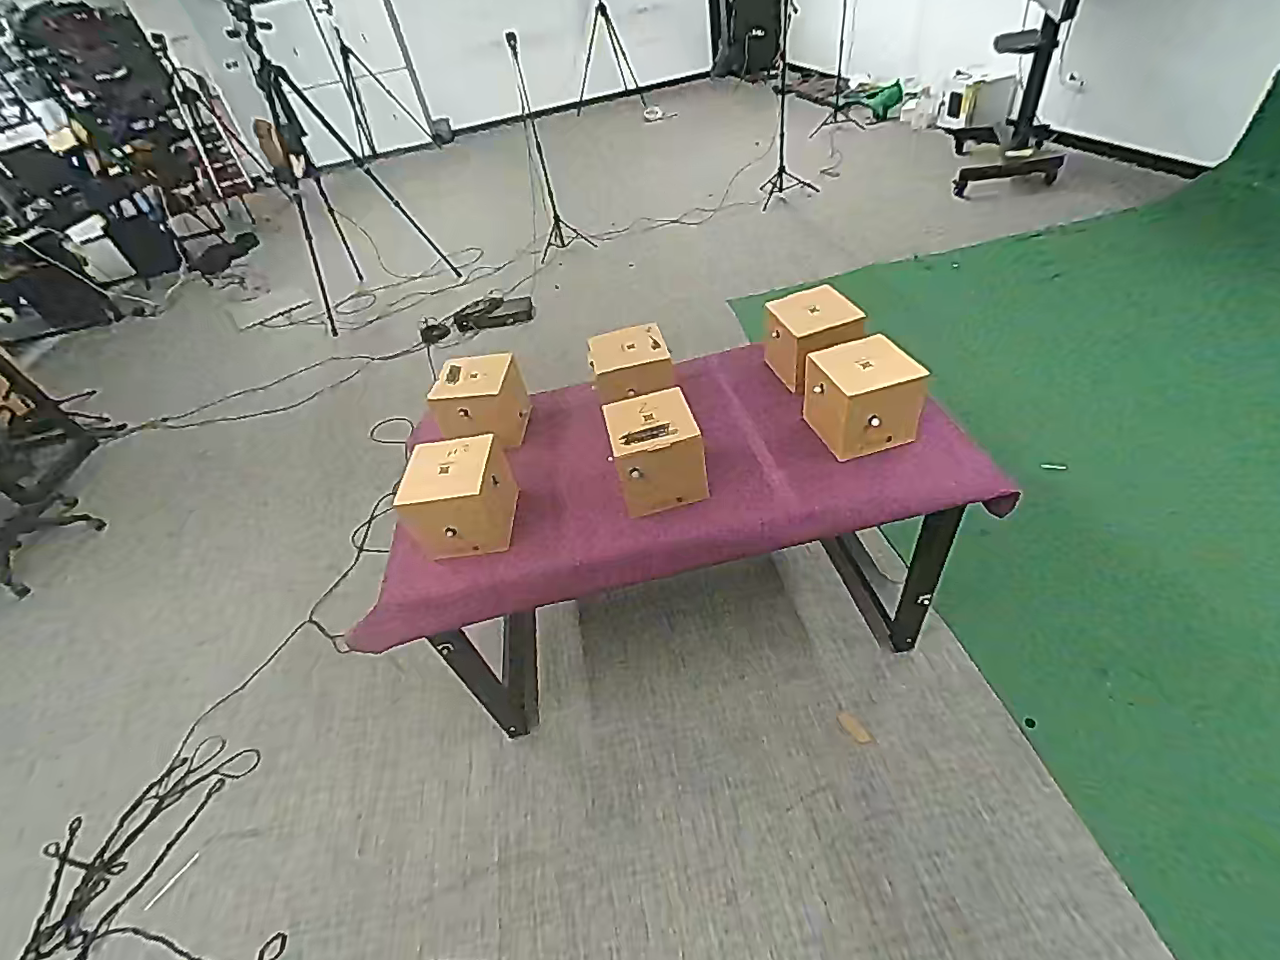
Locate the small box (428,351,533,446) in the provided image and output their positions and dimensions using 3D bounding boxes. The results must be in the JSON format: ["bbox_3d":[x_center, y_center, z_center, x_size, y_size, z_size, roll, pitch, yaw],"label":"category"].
[{"bbox_3d":[-0.379,-0.193,1.315,0.179,0.176,0.168,-3,46,7],"label":"small box"}]

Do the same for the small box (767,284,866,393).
[{"bbox_3d":[0.412,-0.337,1.292,0.168,0.176,0.179,-17,46,-3],"label":"small box"}]

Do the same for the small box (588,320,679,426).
[{"bbox_3d":[-0.014,-0.253,1.300,0.179,0.176,0.168,-14,46,-1],"label":"small box"}]

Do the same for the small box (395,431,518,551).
[{"bbox_3d":[-0.355,0.029,1.086,0.168,0.176,0.179,-7,44,4],"label":"small box"}]

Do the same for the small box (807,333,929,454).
[{"bbox_3d":[0.457,-0.171,1.112,0.168,0.176,0.179,-16,42,-3],"label":"small box"}]
